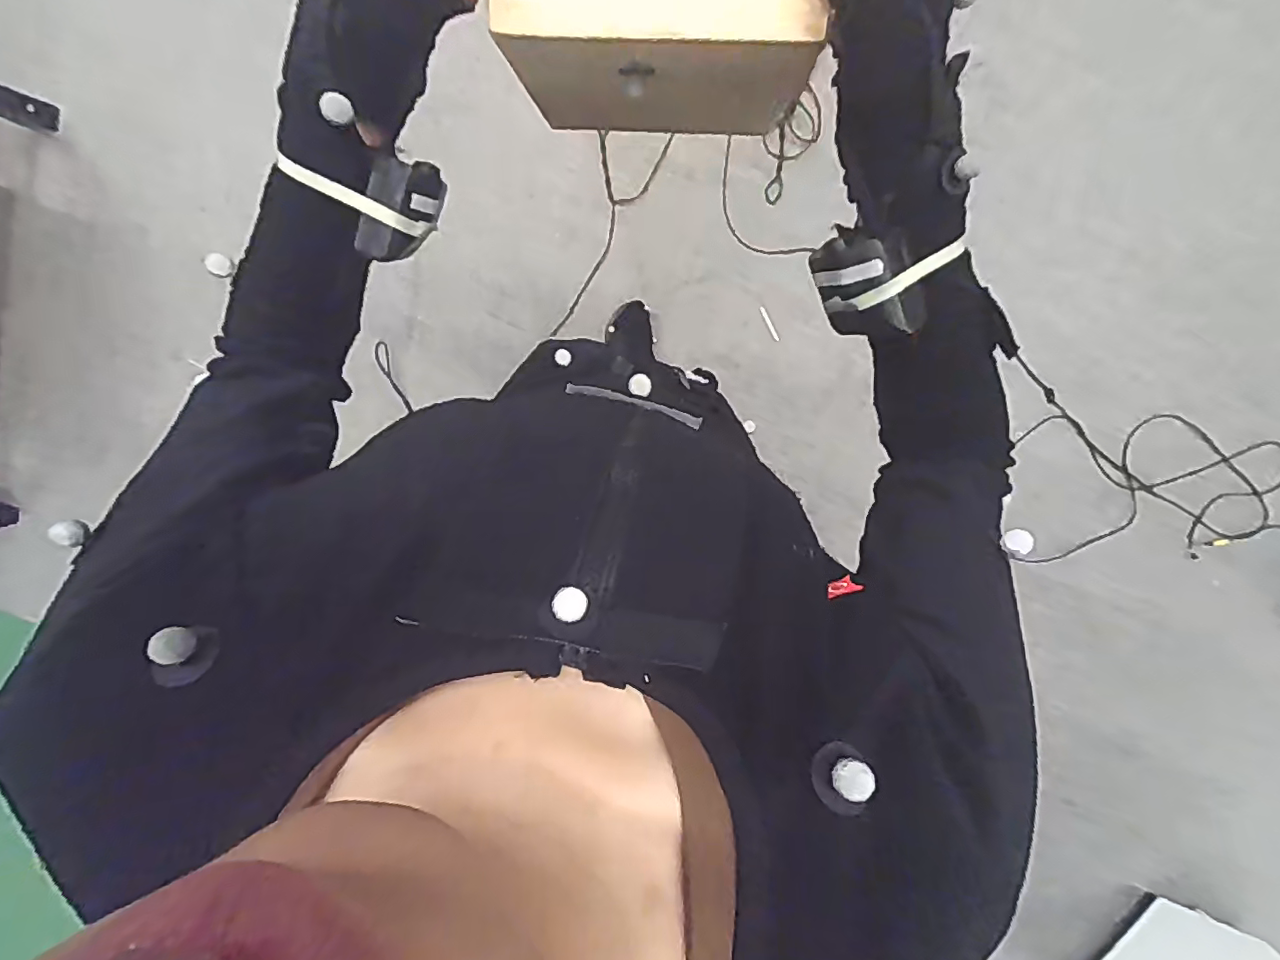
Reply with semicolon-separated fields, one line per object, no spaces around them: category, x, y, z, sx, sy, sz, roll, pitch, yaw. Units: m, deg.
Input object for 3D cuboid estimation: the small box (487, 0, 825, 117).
small box;0.014;-0.339;0.325;0.179;0.176;0.168;3;109;1
